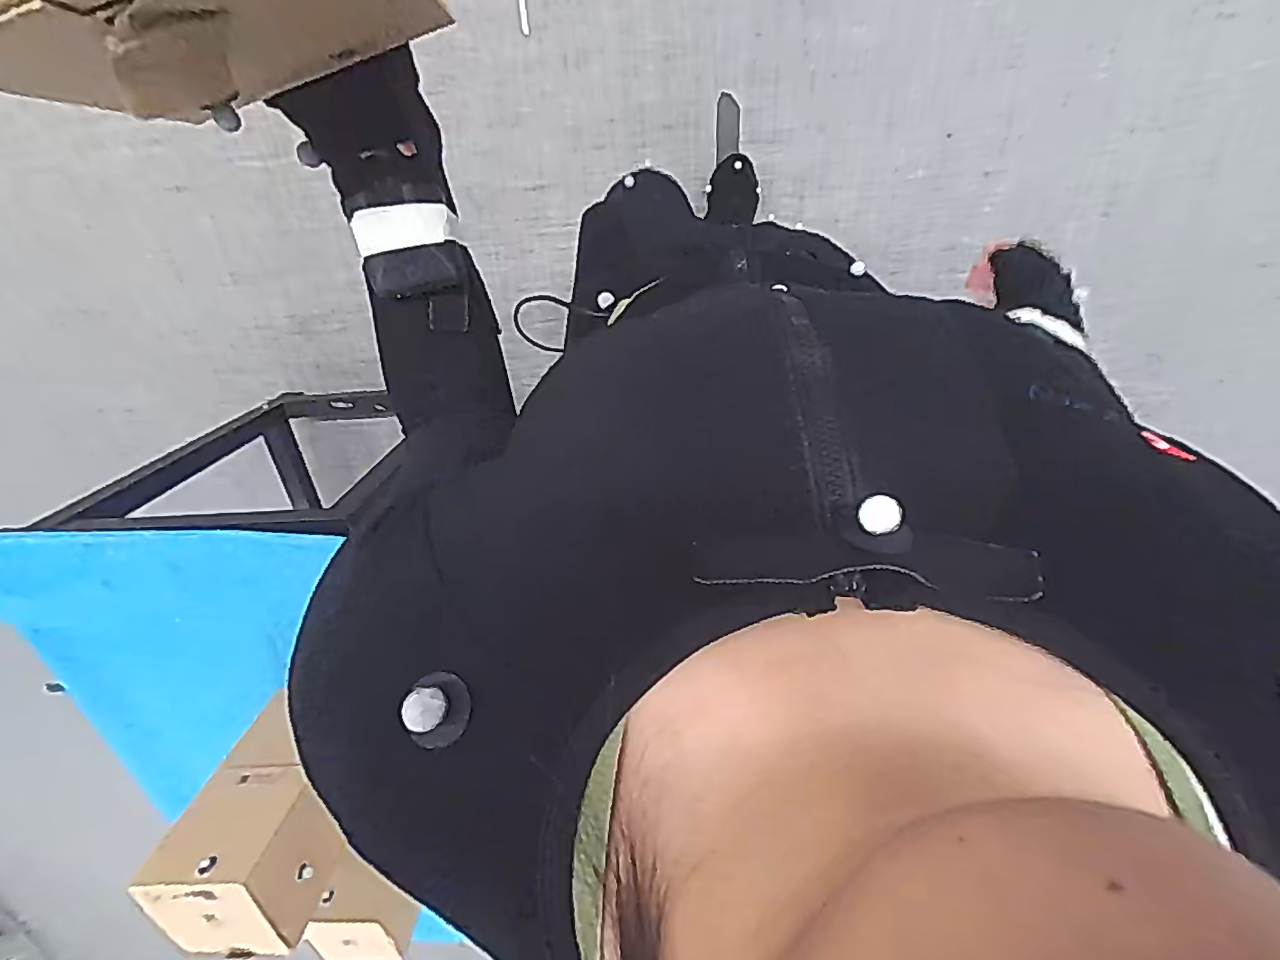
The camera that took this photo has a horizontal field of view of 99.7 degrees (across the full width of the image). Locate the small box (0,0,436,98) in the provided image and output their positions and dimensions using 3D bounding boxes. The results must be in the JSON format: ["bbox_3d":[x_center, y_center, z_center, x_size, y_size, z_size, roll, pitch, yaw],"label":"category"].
[{"bbox_3d":[-0.201,-0.268,0.197,0.168,0.176,0.179,-18,117,4],"label":"small box"}]

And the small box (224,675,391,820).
[{"bbox_3d":[-0.576,0.476,0.968,0.168,0.176,0.179,-3,118,4],"label":"small box"}]

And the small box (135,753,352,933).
[{"bbox_3d":[-0.578,0.544,0.820,0.168,0.176,0.179,-6,117,7],"label":"small box"}]

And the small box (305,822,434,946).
[{"bbox_3d":[-0.577,0.874,1.179,0.179,0.176,0.168,-1,119,2],"label":"small box"}]
